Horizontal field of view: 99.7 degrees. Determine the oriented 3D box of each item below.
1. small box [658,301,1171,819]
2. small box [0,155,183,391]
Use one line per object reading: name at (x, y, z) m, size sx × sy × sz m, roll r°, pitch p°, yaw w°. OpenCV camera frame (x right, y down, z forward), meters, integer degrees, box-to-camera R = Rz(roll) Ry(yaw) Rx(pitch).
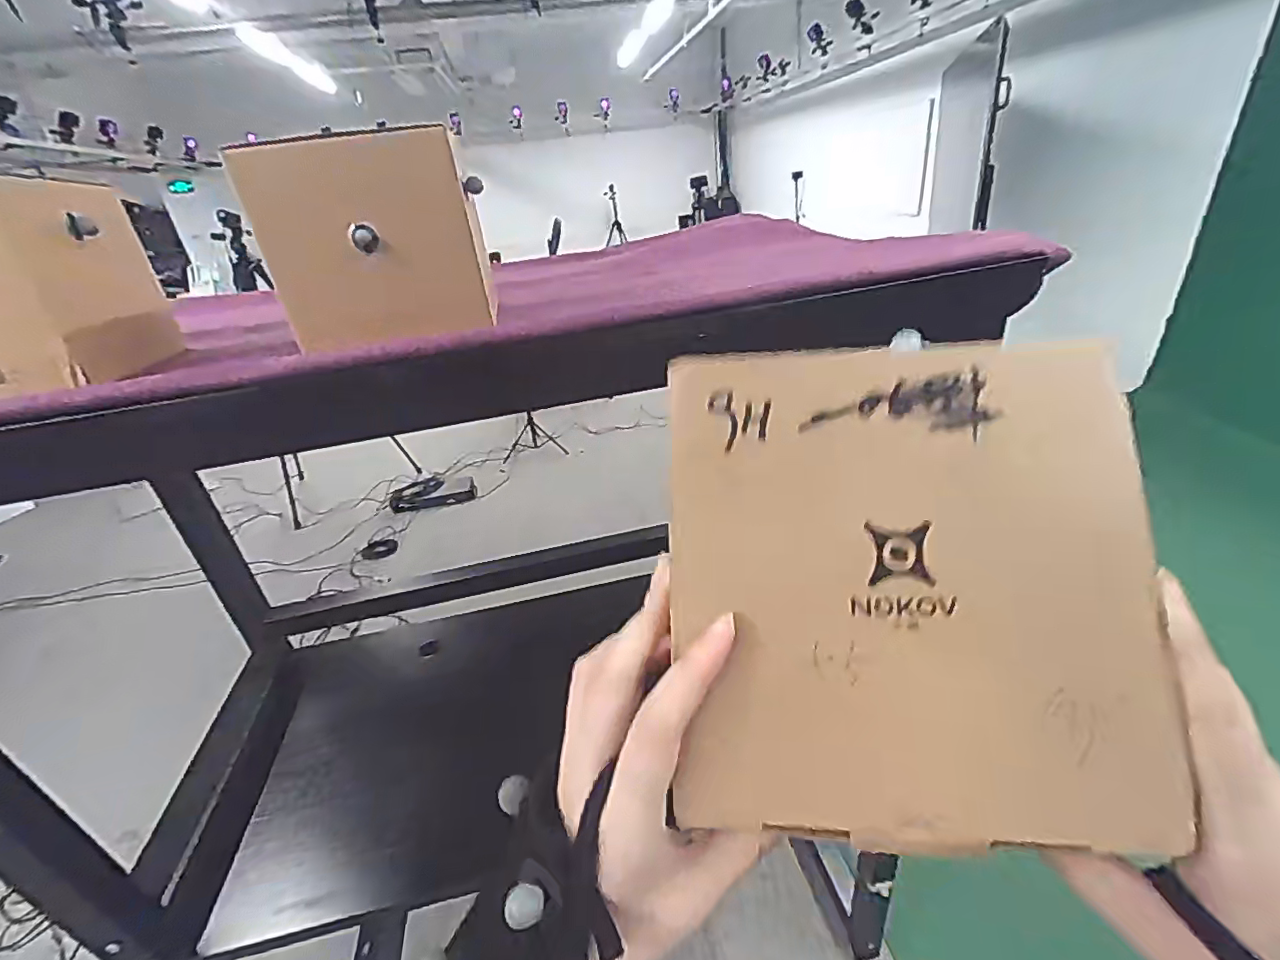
small box at (0.099, 0.032, 0.271) m, size 0.168 × 0.179 × 0.176 m, roll -1°, pitch -8°, yaw 7°
small box at (-0.560, -0.178, 0.480) m, size 0.168 × 0.176 × 0.179 m, roll -12°, pitch 27°, yaw -11°
